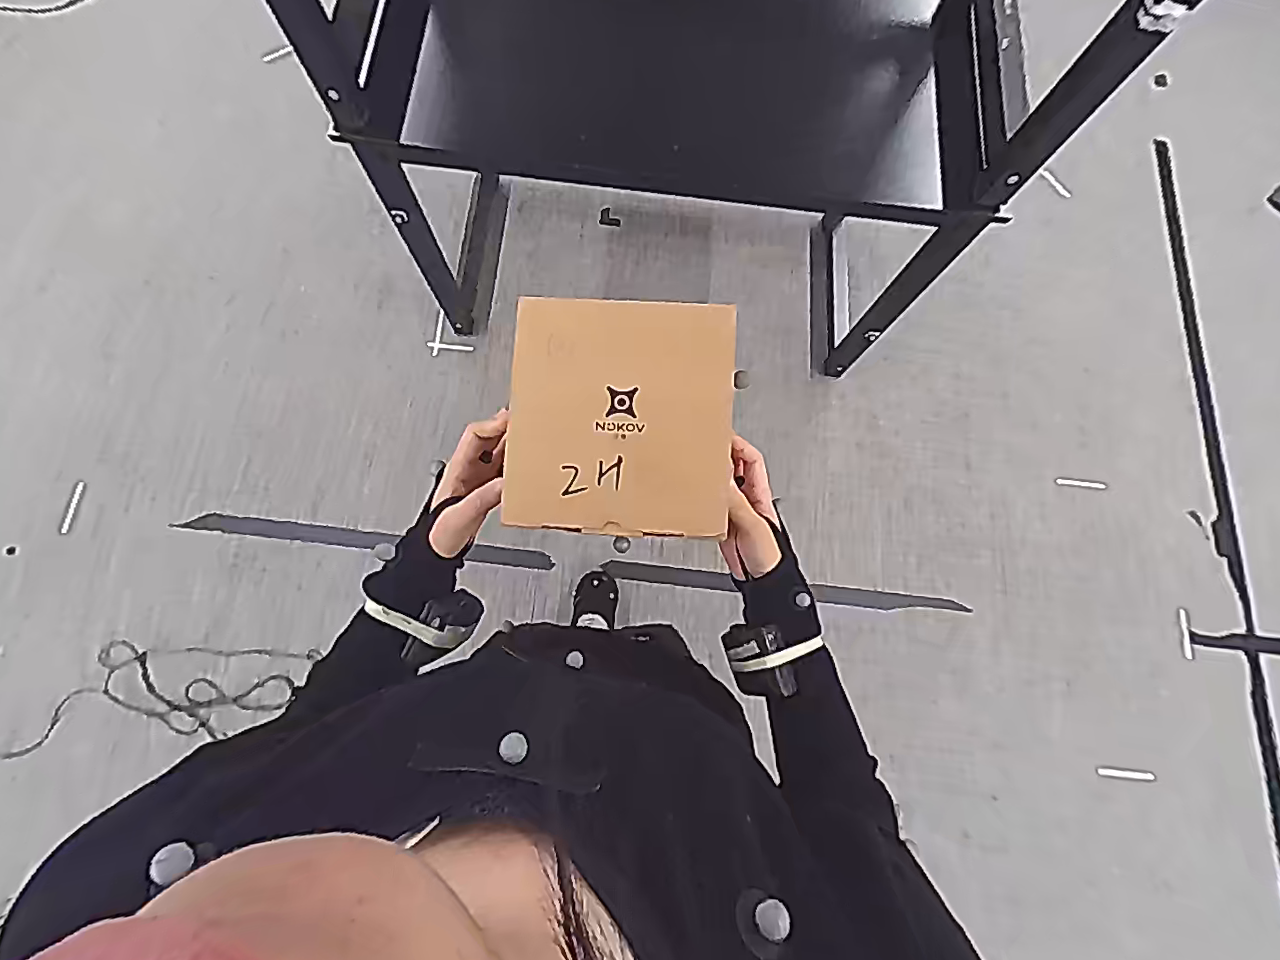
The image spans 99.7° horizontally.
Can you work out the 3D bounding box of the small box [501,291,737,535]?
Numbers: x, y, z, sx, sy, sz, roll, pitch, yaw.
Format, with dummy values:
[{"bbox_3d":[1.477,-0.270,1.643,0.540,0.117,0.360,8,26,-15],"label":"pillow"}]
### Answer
[{"bbox_3d":[-0.012,-0.045,0.481,0.168,0.176,0.179,4,84,3],"label":"small box"}]
